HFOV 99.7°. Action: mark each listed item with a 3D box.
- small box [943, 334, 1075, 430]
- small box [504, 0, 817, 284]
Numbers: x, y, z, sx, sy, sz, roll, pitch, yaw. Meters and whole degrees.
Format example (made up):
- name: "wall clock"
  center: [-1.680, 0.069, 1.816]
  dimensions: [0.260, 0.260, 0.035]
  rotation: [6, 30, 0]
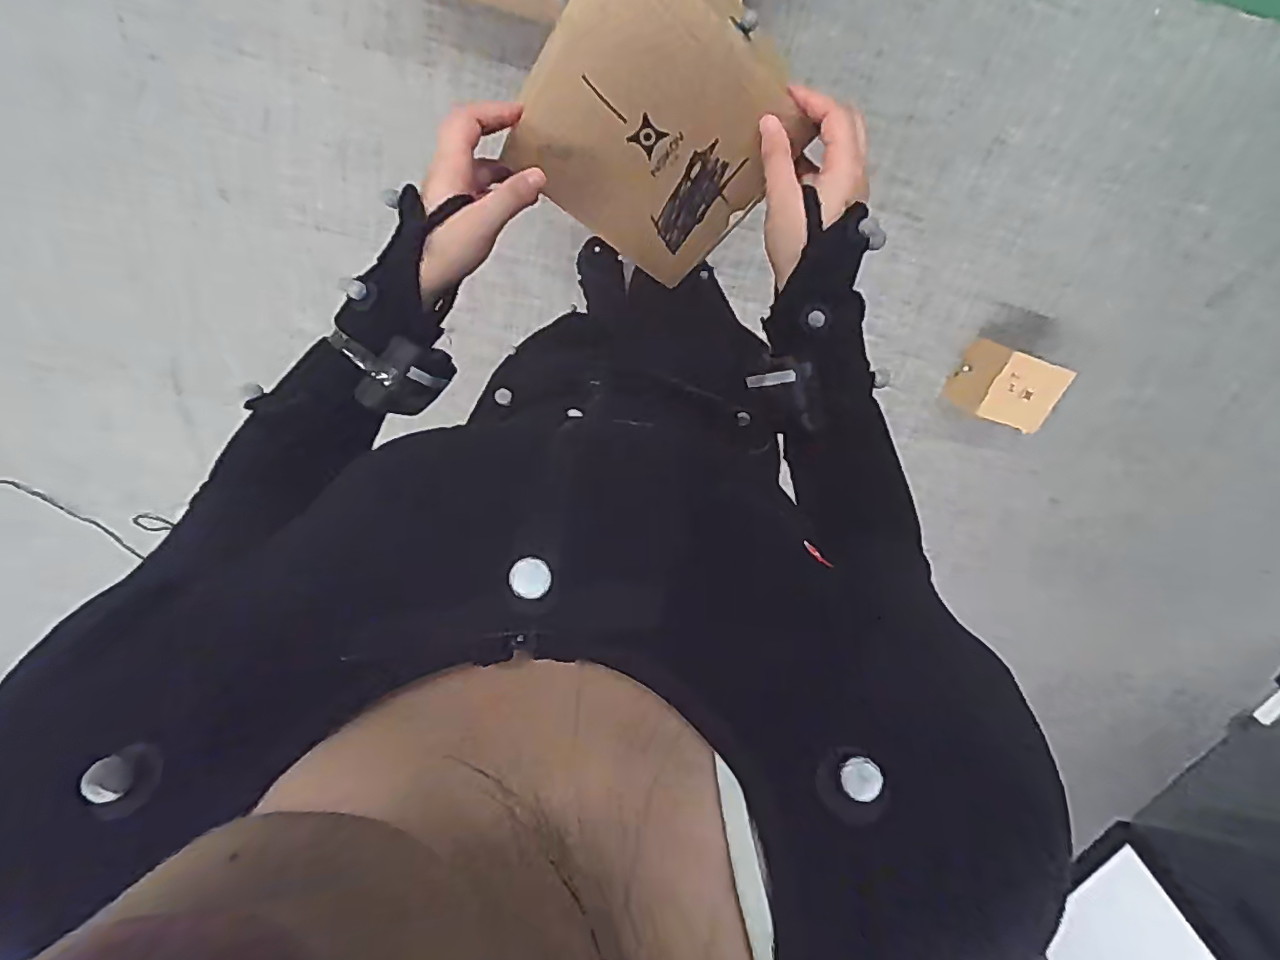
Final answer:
- name: "small box"
  center: [0.920, -0.253, 1.366]
  dimensions: [0.179, 0.176, 0.168]
  rotation: [16, 117, -9]
- name: "small box"
  center: [0.015, -0.310, 0.446]
  dimensions: [0.179, 0.176, 0.168]
  rotation: [26, 137, -30]
